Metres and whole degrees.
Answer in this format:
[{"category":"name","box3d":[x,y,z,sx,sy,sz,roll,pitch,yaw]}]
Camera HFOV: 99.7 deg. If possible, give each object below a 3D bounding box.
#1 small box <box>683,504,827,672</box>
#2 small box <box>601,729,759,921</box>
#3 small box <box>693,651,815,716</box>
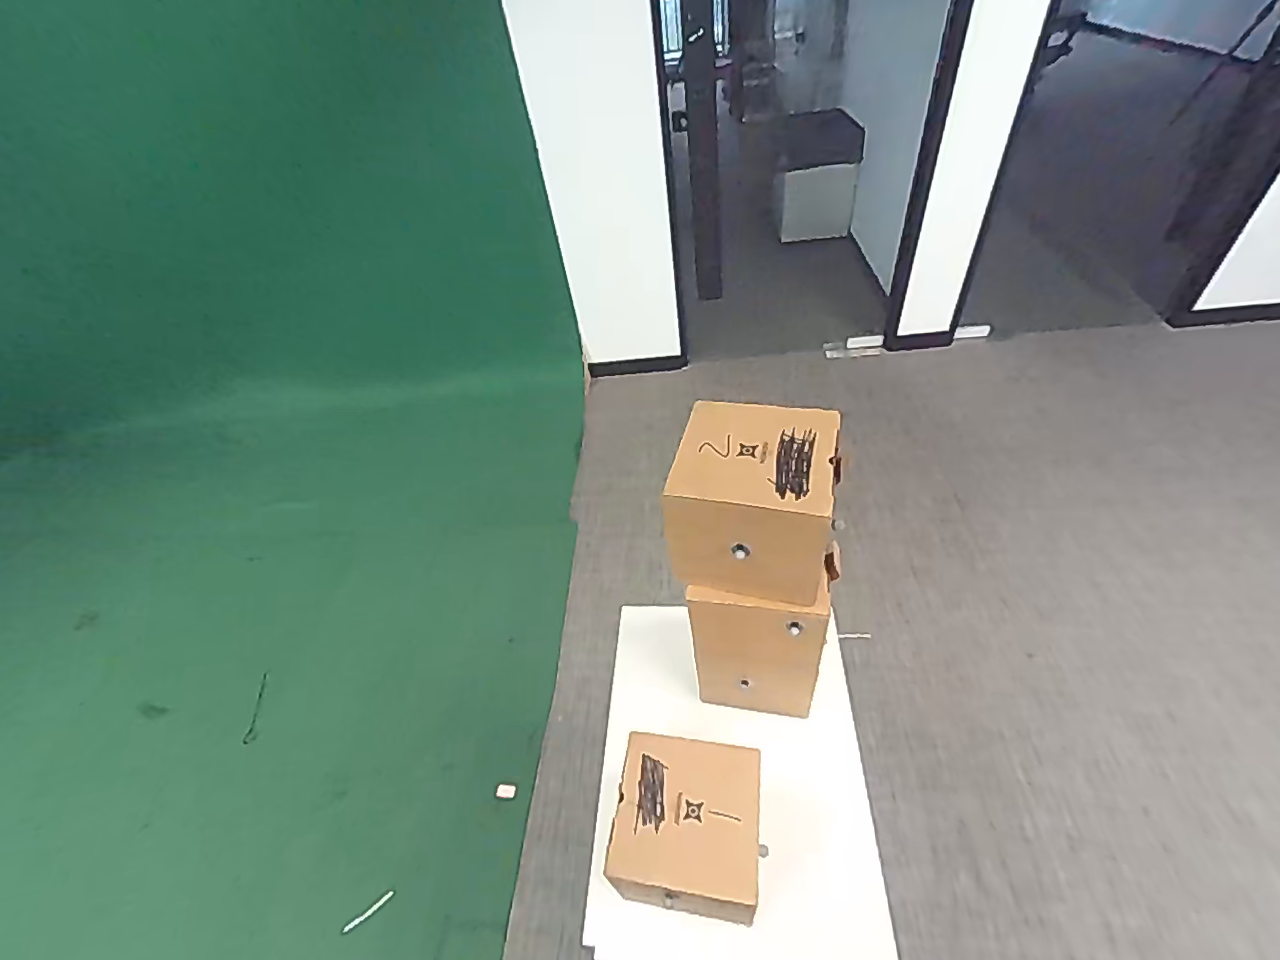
[{"category":"small box","box3d":[0.164,0.154,0.766,0.179,0.176,0.168,3,47,13]},{"category":"small box","box3d":[0.063,0.455,0.714,0.179,0.176,0.168,4,46,12]},{"category":"small box","box3d":[0.189,0.265,0.883,0.179,0.176,0.168,3,47,14]}]
